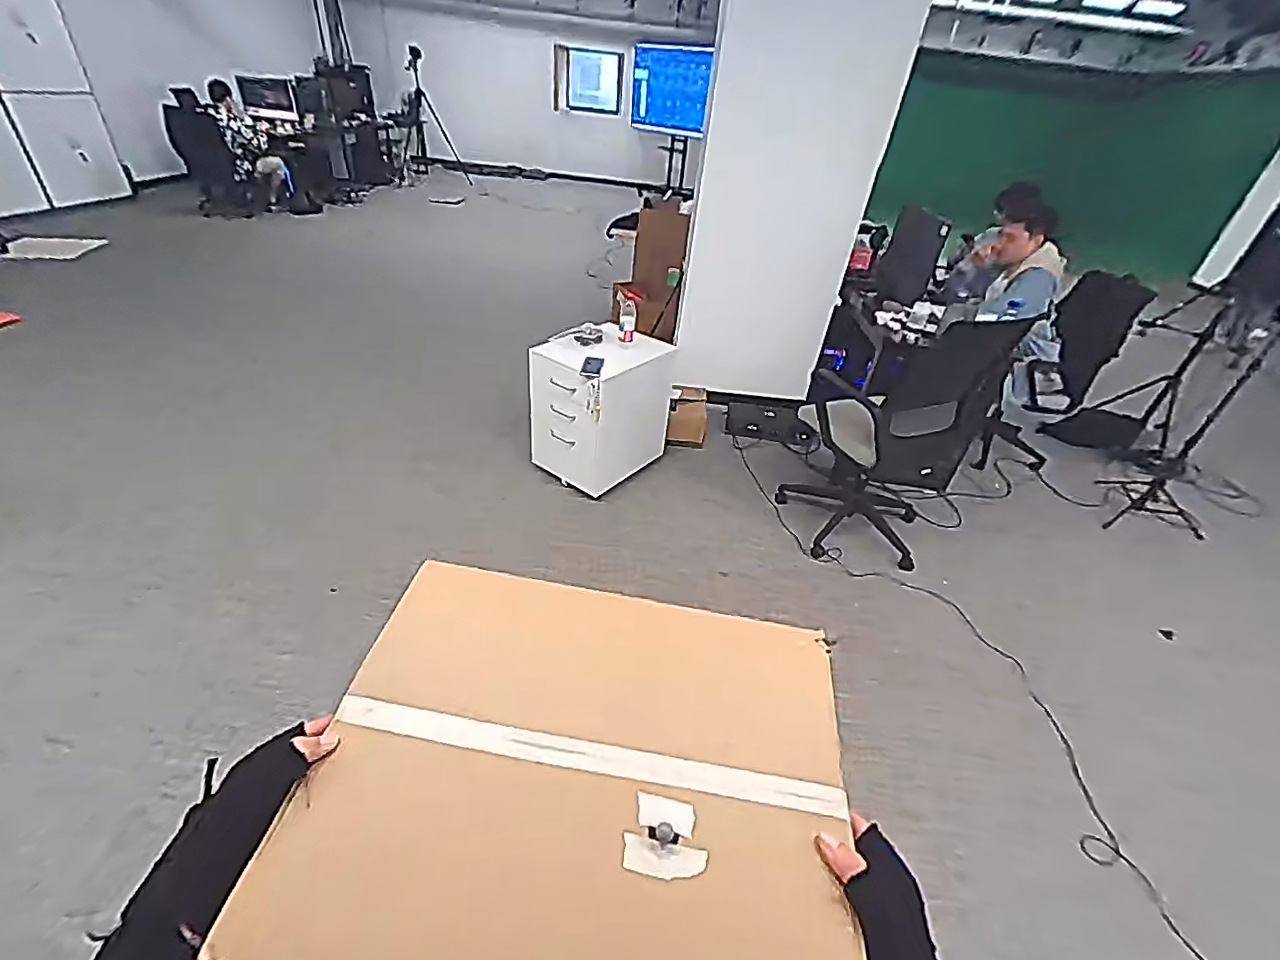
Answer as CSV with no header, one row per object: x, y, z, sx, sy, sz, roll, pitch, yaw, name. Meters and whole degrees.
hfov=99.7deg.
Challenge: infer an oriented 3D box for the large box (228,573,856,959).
-0.056,0.334,0.532,0.408,0.320,0.320,10,42,2,large box
